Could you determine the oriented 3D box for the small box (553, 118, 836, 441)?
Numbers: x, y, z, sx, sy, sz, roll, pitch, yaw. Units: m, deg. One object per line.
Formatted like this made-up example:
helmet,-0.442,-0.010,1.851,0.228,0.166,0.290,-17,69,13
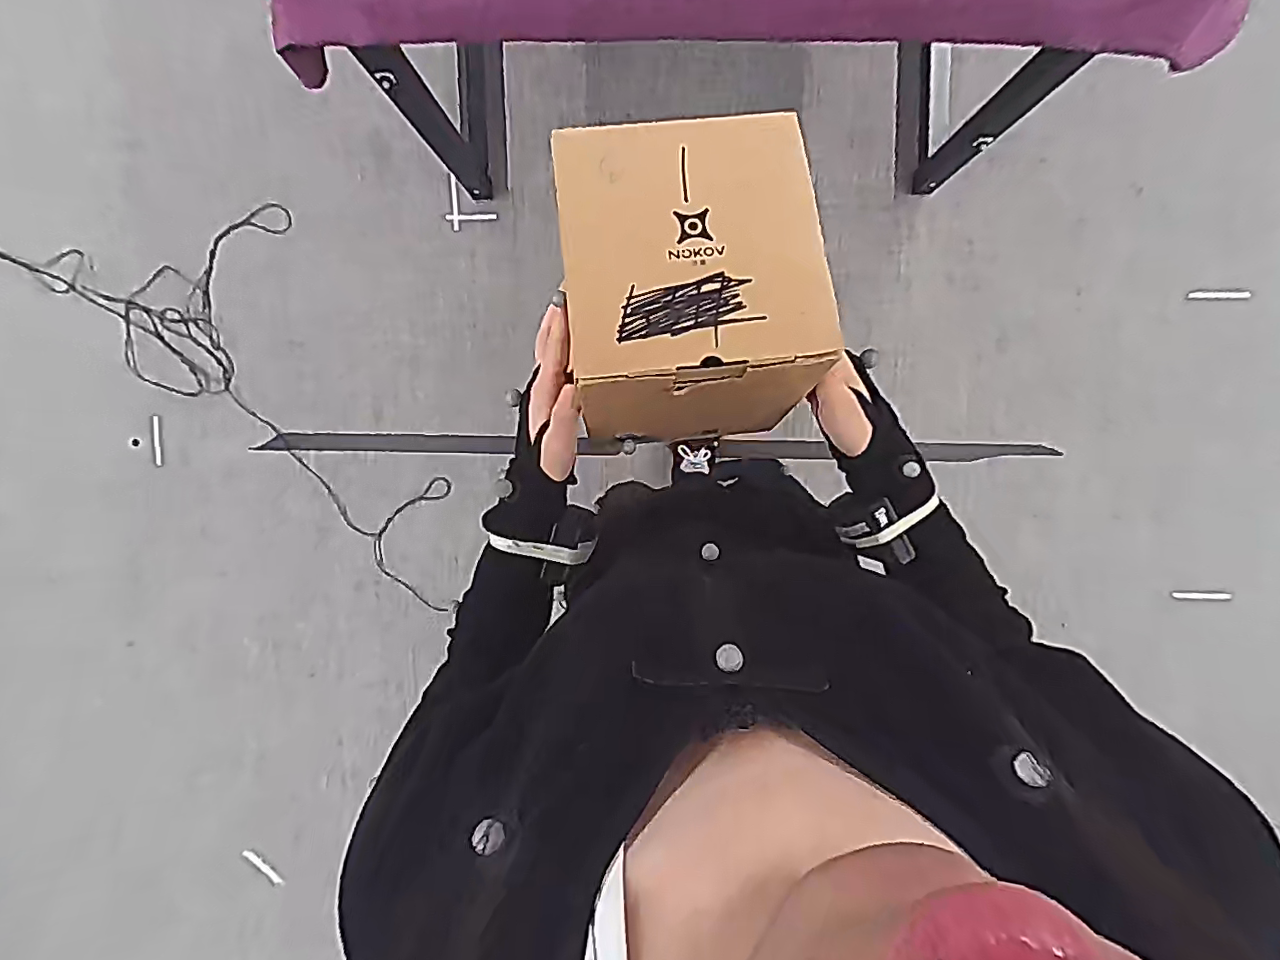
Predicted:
small box,0.031,-0.134,0.421,0.168,0.176,0.179,-6,78,-2
